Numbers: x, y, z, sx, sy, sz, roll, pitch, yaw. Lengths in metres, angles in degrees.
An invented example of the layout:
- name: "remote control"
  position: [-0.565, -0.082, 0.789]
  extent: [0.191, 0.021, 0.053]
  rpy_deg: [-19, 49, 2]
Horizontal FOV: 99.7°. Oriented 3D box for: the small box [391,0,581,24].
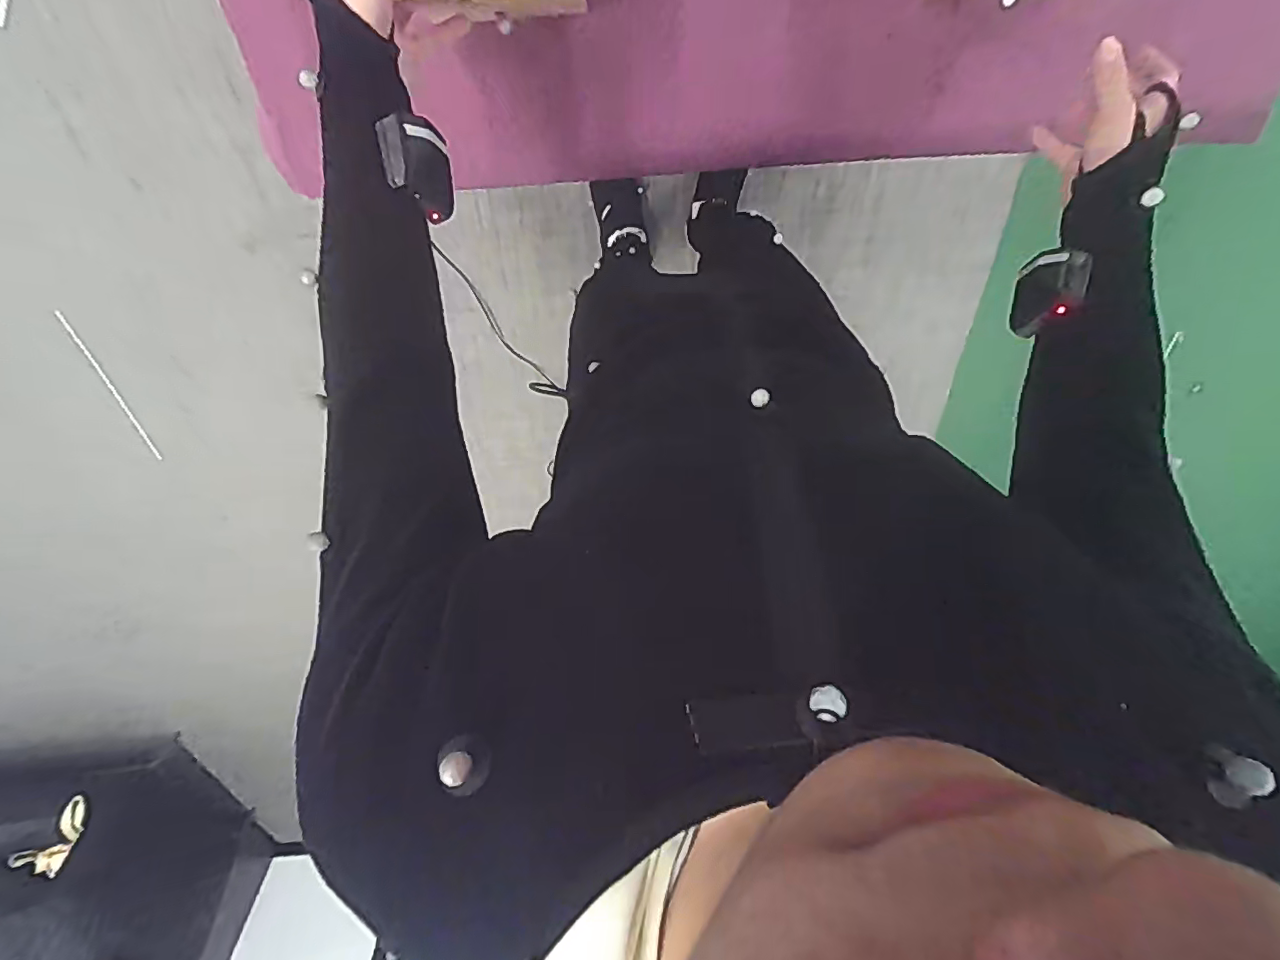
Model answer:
- name: "small box"
  position: [-0.145, -0.526, 0.473]
  extent: [0.168, 0.176, 0.179]
  rpy_deg: [-4, 126, 0]
